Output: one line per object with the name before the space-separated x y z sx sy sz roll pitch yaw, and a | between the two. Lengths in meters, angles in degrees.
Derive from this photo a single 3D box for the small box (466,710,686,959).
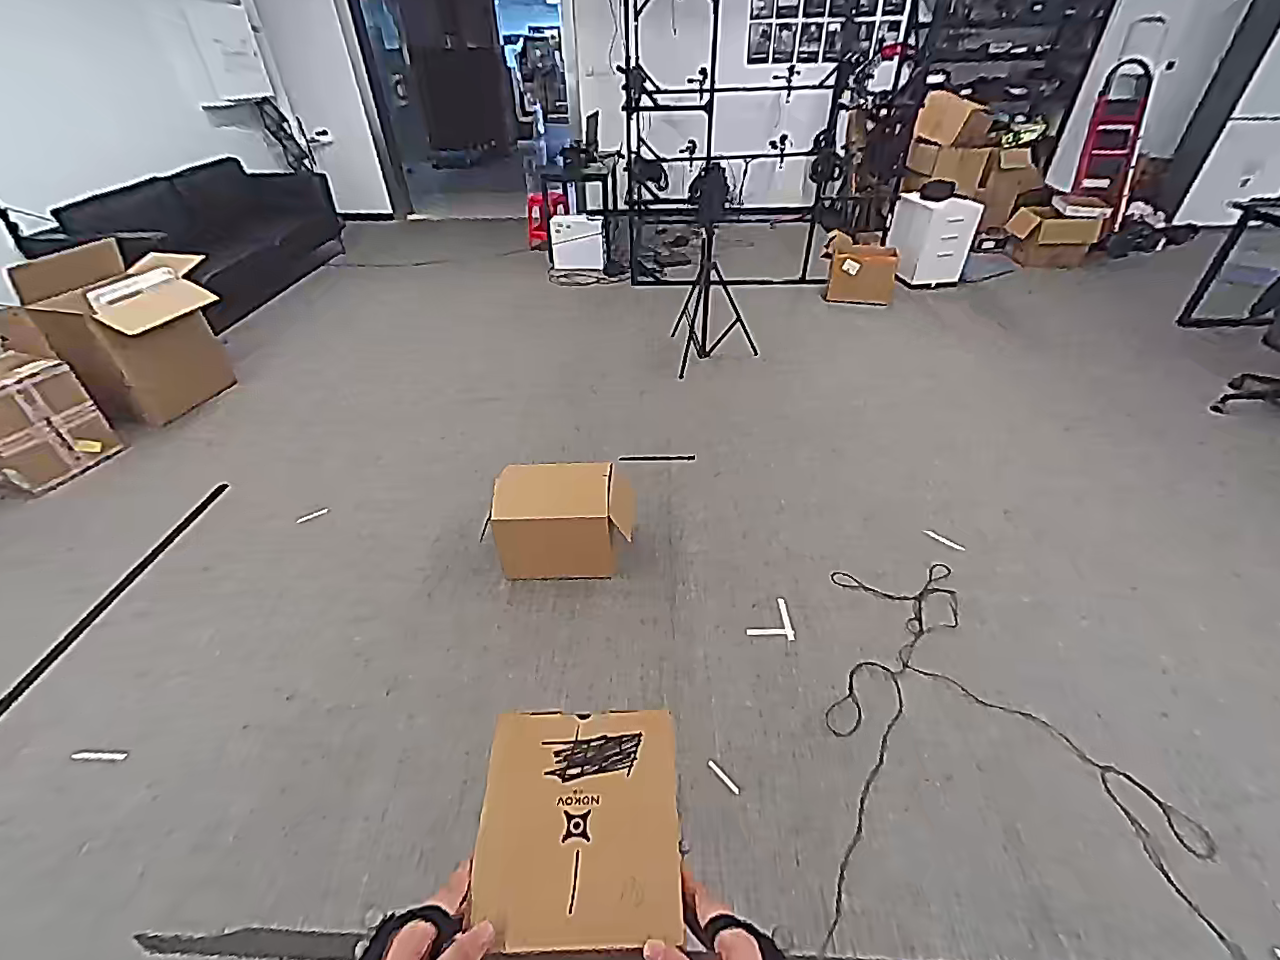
small box | -0.049 0.340 0.510 0.168 0.176 0.179 -1 42 -1
